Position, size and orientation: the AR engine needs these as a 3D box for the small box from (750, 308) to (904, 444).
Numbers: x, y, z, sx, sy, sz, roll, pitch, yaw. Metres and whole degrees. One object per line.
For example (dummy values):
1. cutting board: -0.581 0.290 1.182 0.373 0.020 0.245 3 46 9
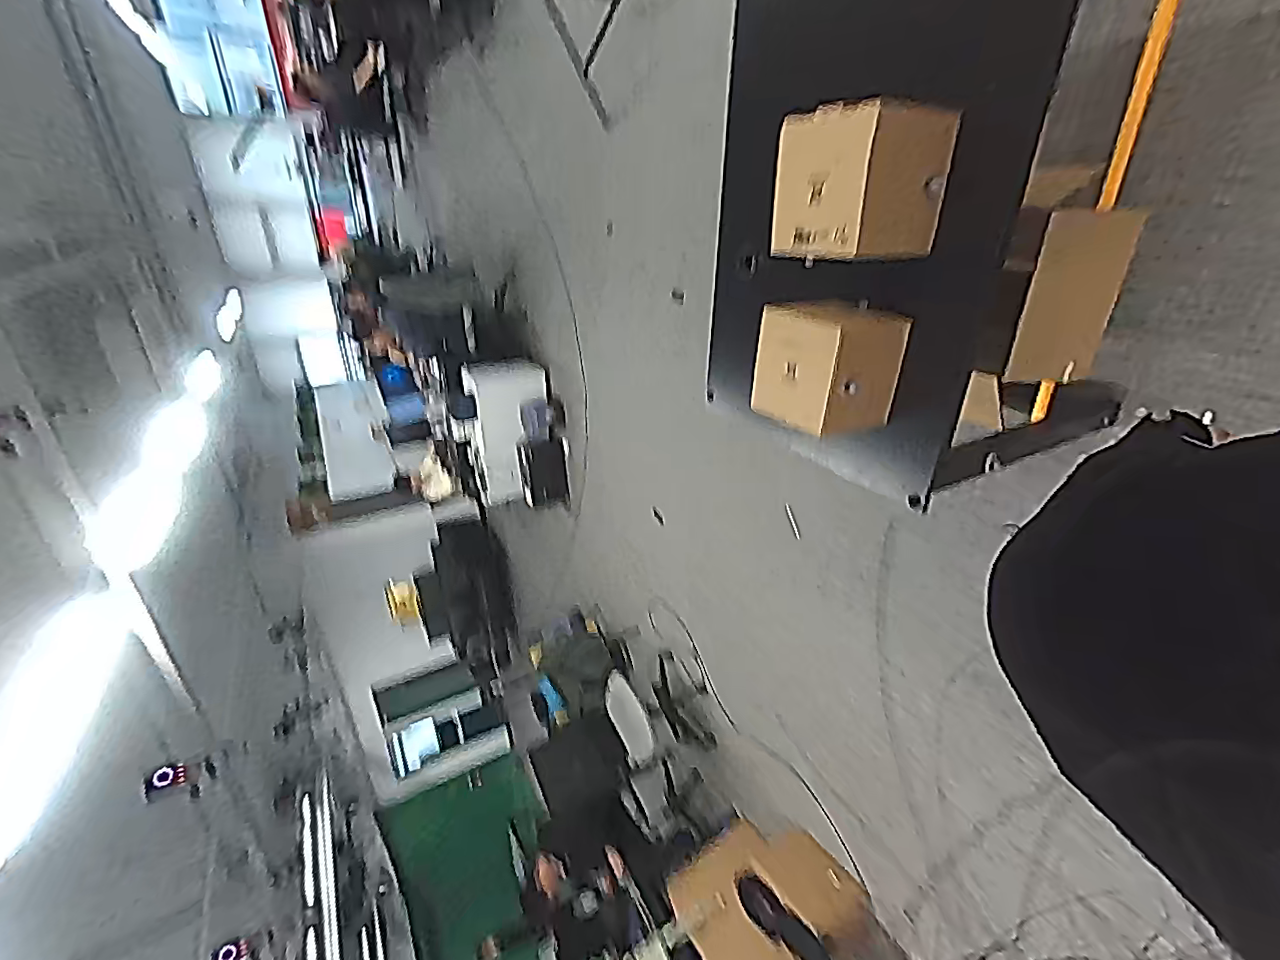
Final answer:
1. small box: 0.308 -0.181 0.903 0.168 0.176 0.179 37 133 49

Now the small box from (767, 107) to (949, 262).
1. small box: 0.312 -0.415 0.783 0.168 0.176 0.179 36 133 51
